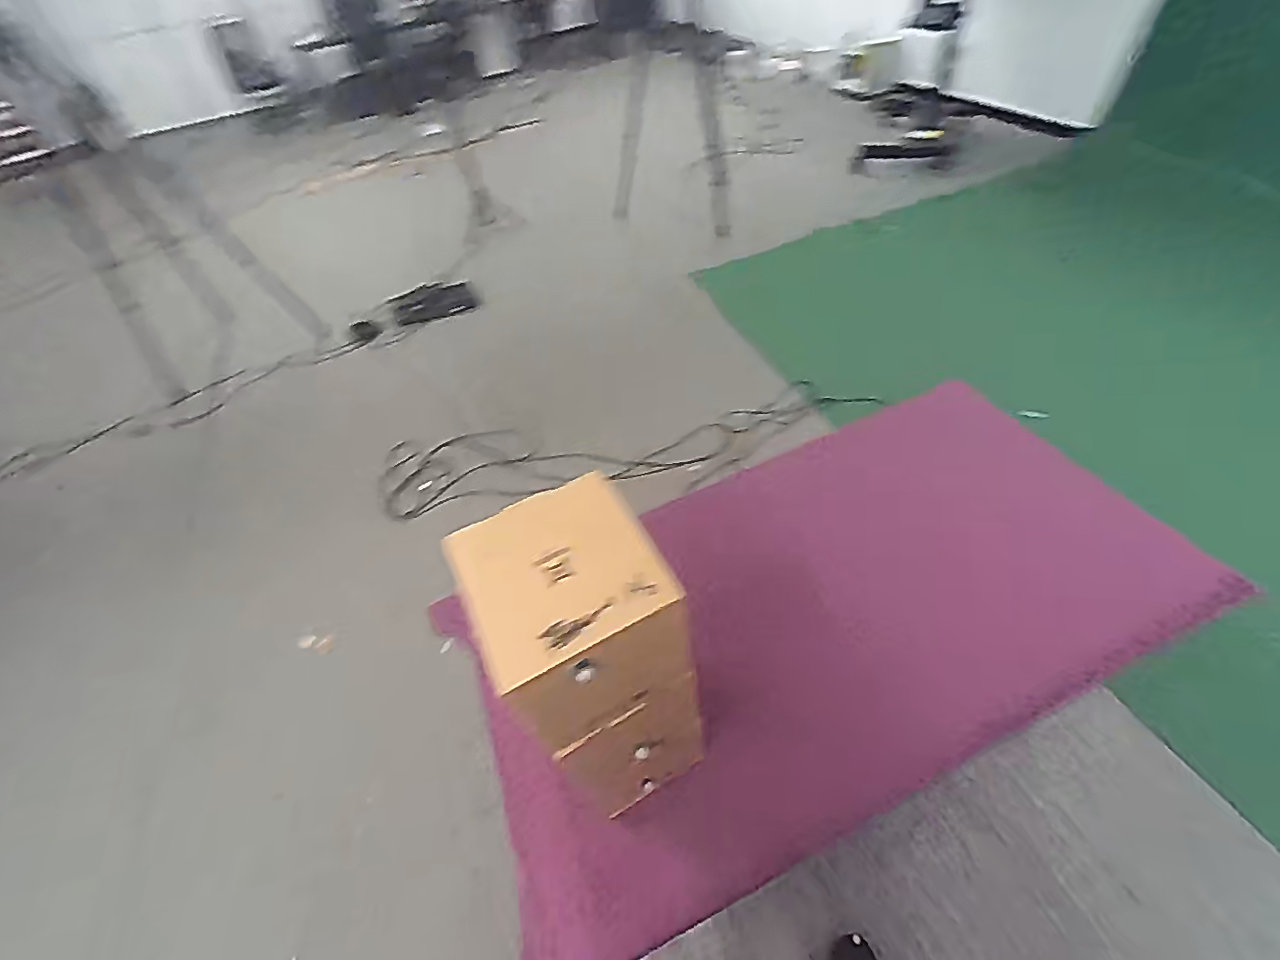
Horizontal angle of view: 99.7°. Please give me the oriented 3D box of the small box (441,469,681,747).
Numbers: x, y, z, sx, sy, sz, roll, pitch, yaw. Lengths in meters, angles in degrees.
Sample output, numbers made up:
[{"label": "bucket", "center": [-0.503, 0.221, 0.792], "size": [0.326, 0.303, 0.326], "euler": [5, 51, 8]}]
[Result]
[{"label": "small box", "center": [-0.073, 0.127, 0.539], "size": [0.168, 0.176, 0.179], "euler": [-26, 49, -14]}]

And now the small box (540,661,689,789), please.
[{"label": "small box", "center": [-0.055, 0.237, 0.660], "size": [0.168, 0.176, 0.179], "euler": [-27, 51, -15]}]

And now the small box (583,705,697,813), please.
[{"label": "small box", "center": [-0.031, 0.342, 0.784], "size": [0.168, 0.176, 0.179], "euler": [-27, 51, -15]}]
